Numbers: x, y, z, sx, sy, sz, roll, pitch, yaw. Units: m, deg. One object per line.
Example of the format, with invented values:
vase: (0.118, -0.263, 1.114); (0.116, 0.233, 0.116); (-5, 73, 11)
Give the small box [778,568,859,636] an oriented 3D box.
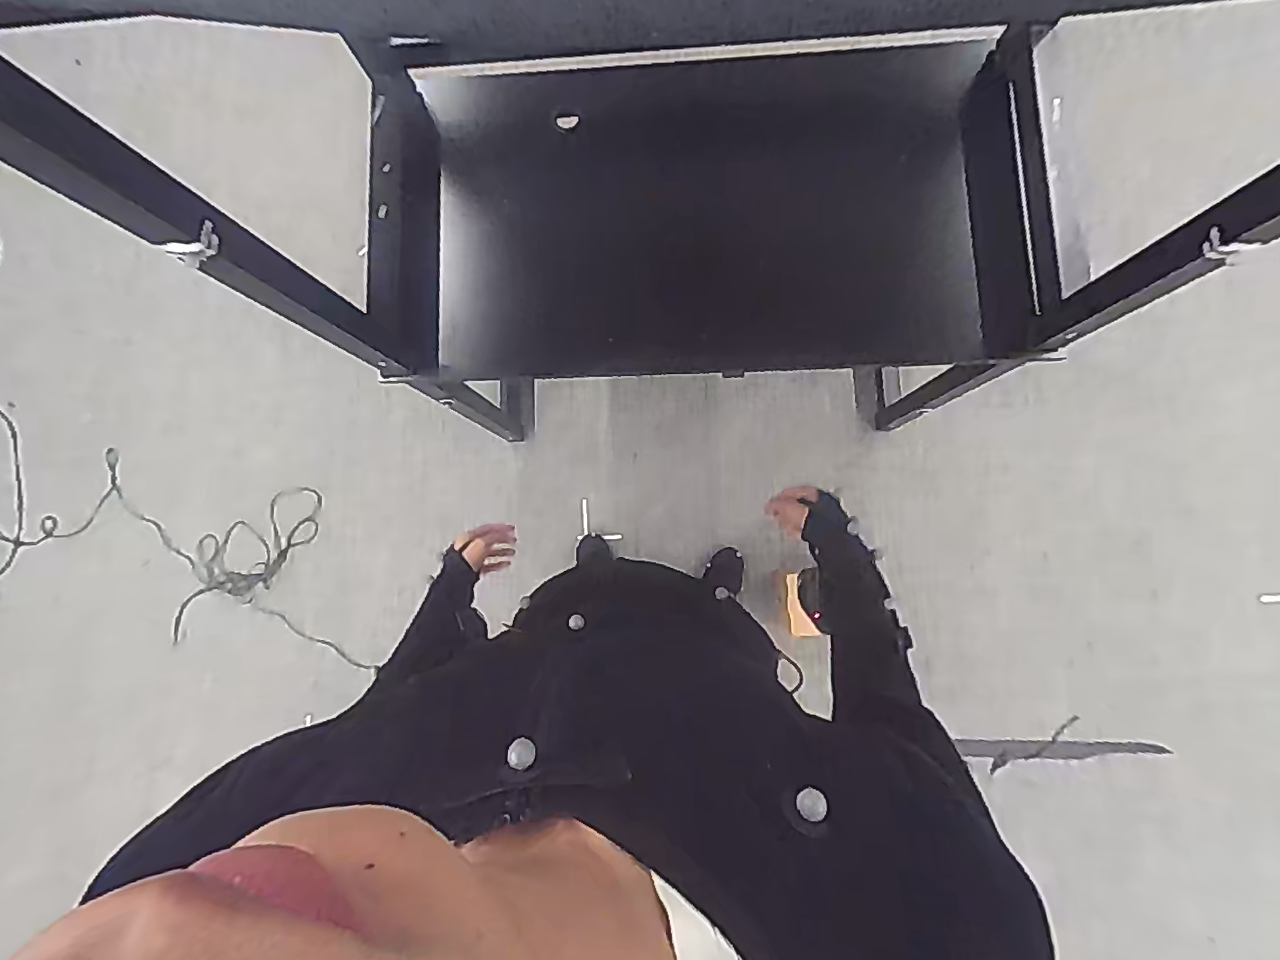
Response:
small box: (0.495, 0.336, 1.516); (0.179, 0.176, 0.168); (-4, 84, 4)
